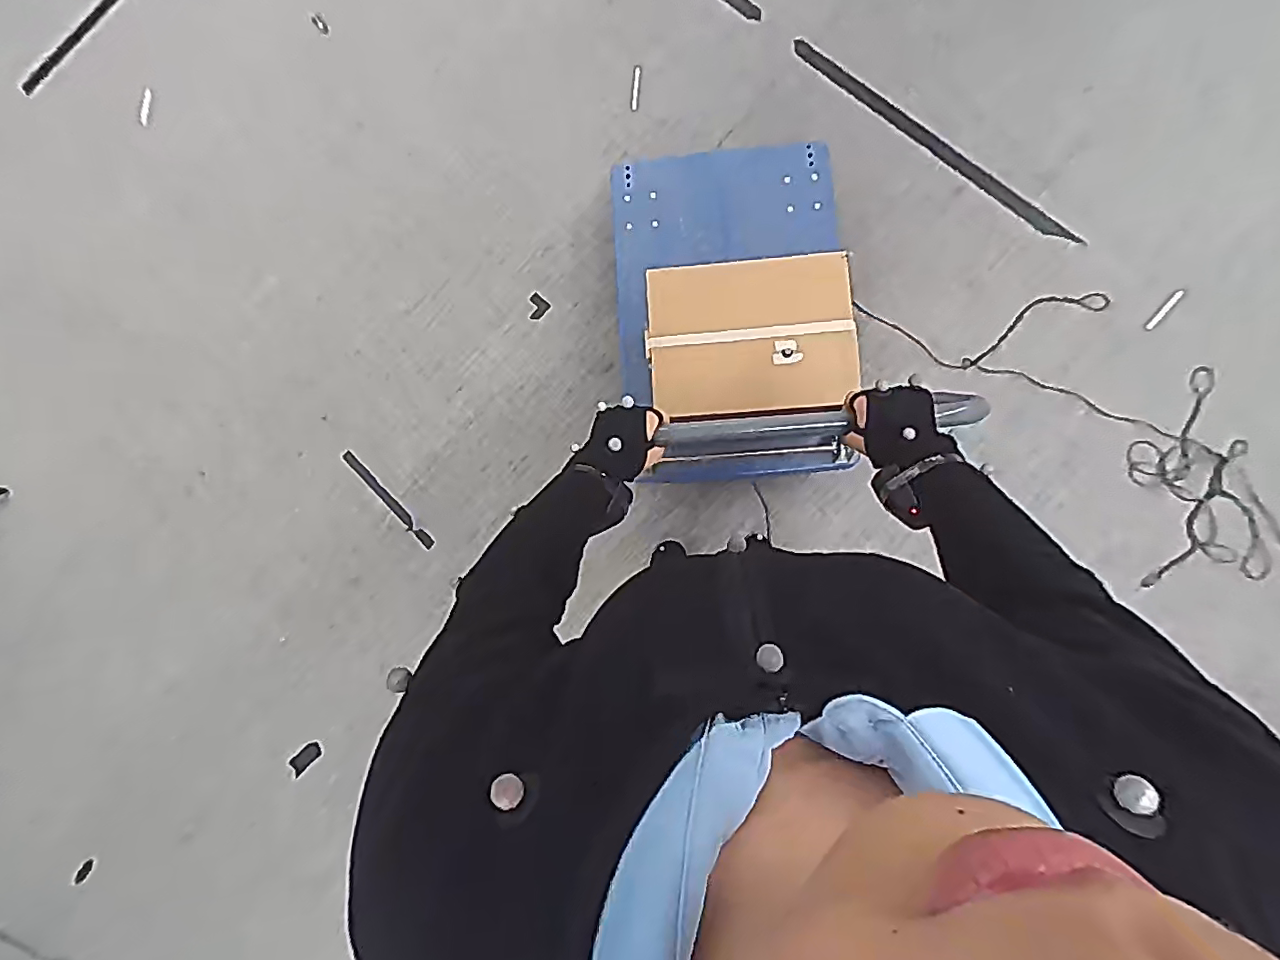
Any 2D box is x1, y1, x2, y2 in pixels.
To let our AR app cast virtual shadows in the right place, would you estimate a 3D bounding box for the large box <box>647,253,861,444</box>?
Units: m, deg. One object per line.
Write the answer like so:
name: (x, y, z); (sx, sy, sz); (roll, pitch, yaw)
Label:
large box: (0.233, -0.274, 1.228); (0.408, 0.320, 0.320); (-4, 85, 4)
